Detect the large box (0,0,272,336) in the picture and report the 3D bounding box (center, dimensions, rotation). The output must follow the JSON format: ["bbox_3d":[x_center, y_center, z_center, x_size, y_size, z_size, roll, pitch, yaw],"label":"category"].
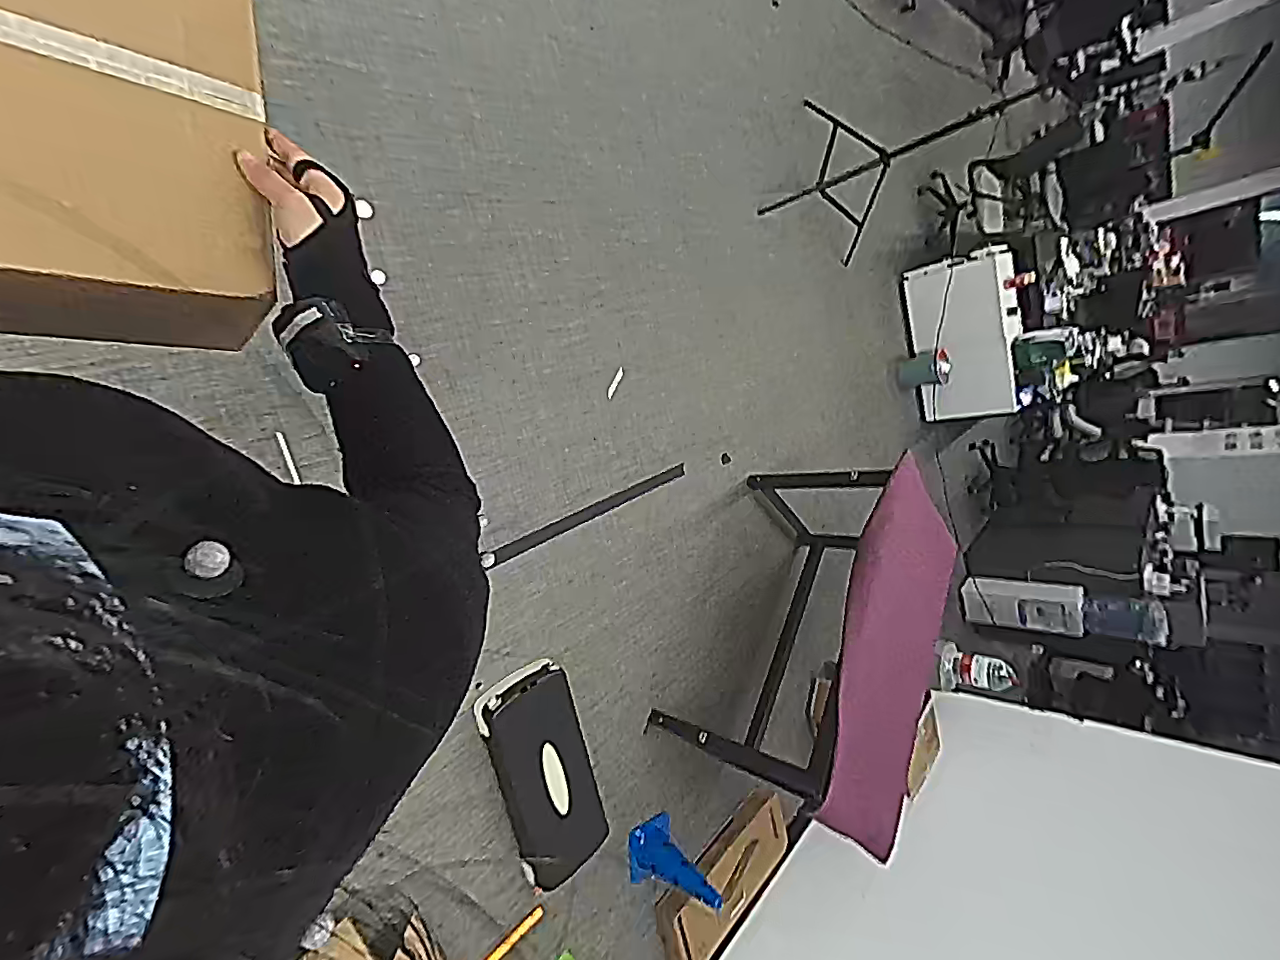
[{"bbox_3d":[-0.577,-0.307,0.447,0.408,0.320,0.320,-7,96,-41],"label":"large box"}]
